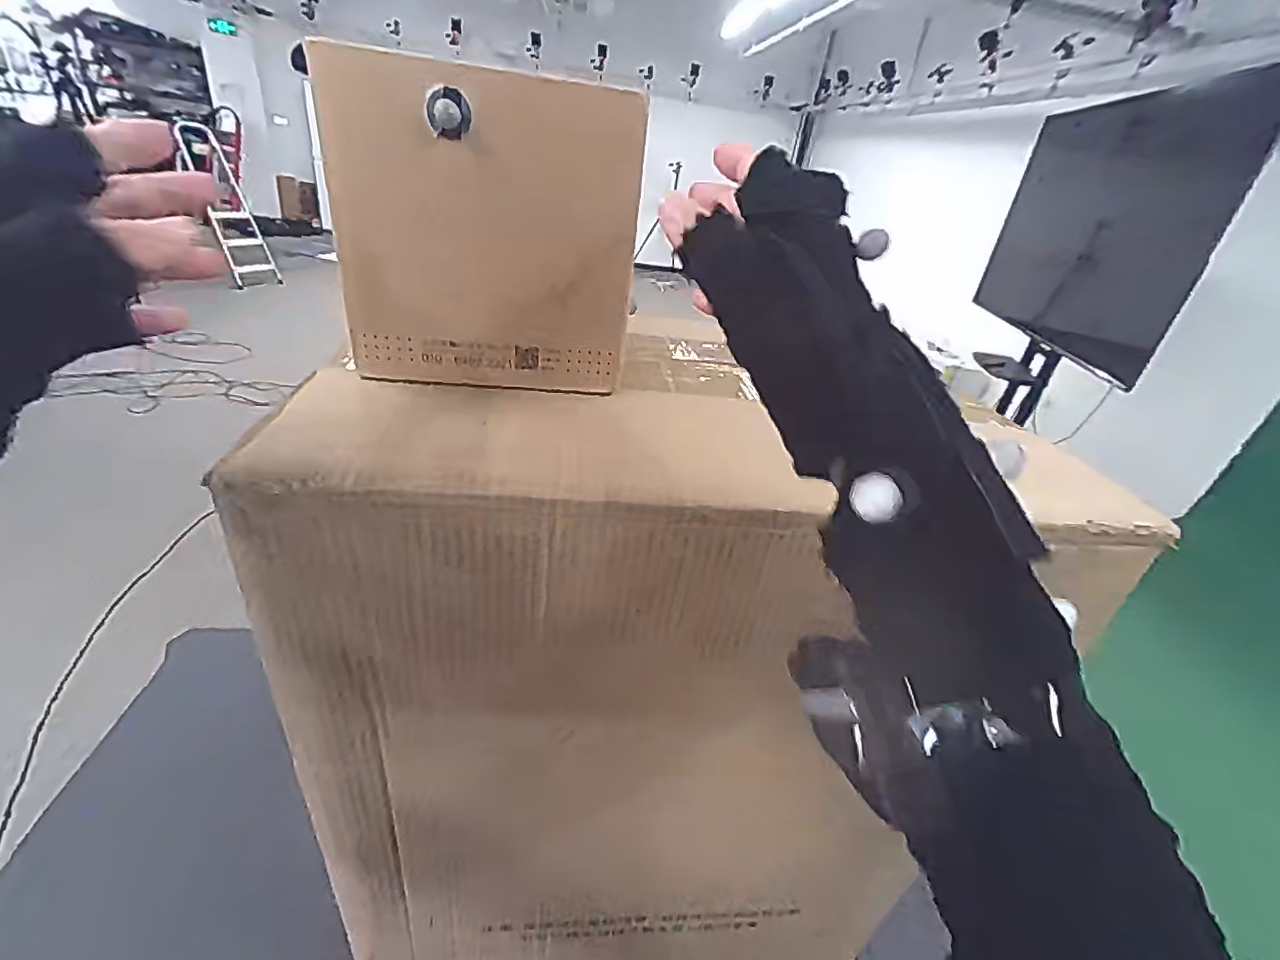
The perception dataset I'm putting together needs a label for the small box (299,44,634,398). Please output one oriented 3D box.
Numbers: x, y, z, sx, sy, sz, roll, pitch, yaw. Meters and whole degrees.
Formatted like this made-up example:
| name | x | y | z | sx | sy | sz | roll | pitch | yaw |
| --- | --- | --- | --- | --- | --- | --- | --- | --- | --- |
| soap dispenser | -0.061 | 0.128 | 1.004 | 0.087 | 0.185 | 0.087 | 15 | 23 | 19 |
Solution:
| name | x | y | z | sx | sy | sz | roll | pitch | yaw |
| --- | --- | --- | --- | --- | --- | --- | --- | --- | --- |
| small box | -0.101 | -0.171 | 0.377 | 0.168 | 0.176 | 0.179 | 2 | 31 | -9 |
